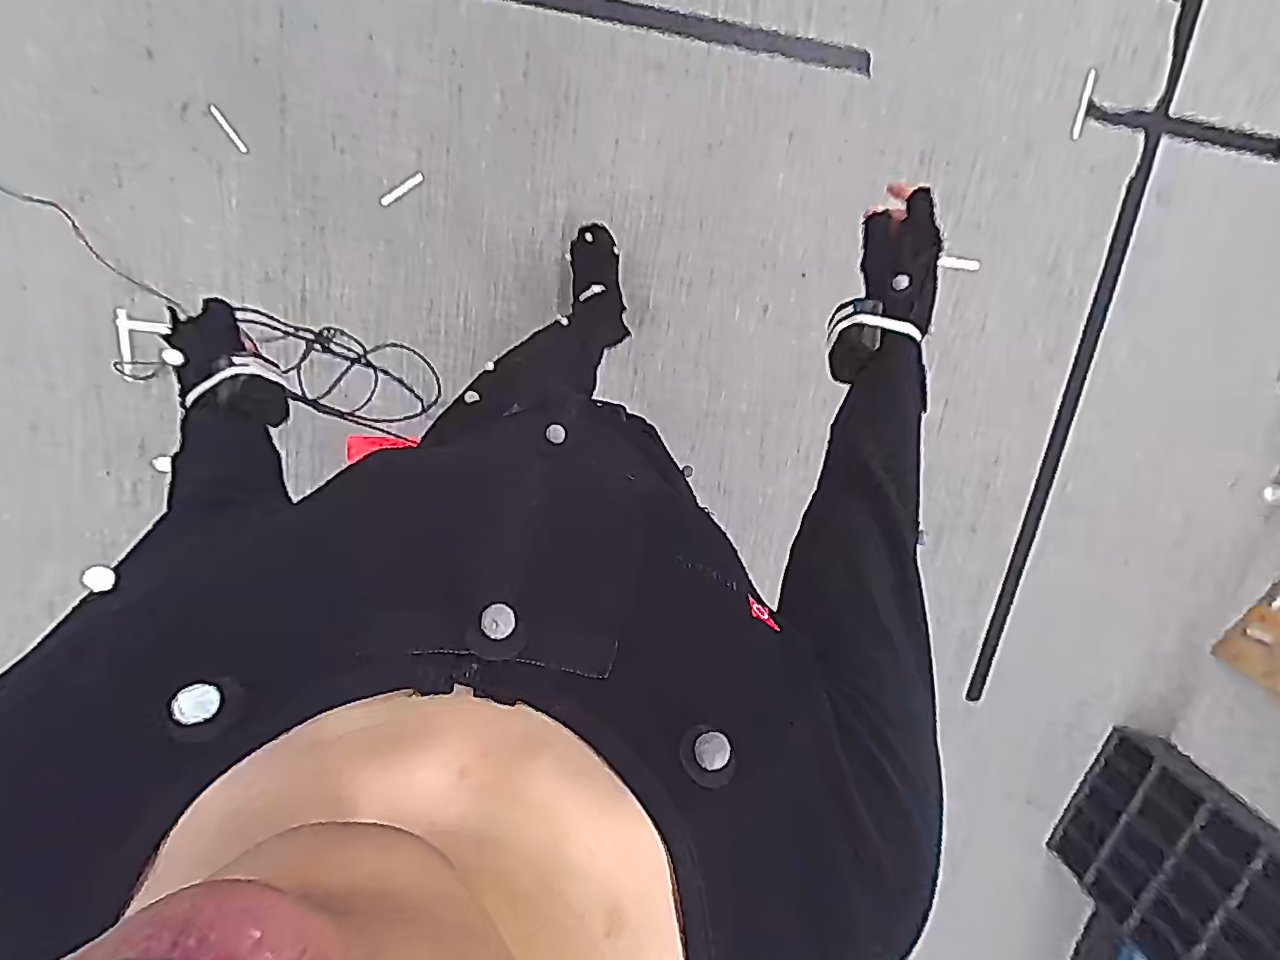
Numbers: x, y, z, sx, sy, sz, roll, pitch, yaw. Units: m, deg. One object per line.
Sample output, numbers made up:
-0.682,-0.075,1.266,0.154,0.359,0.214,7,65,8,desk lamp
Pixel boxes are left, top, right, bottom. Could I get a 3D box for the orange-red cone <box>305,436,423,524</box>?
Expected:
-0.661,0.027,1.255,0.199,0.360,0.198,4,104,-4,orange-red cone
